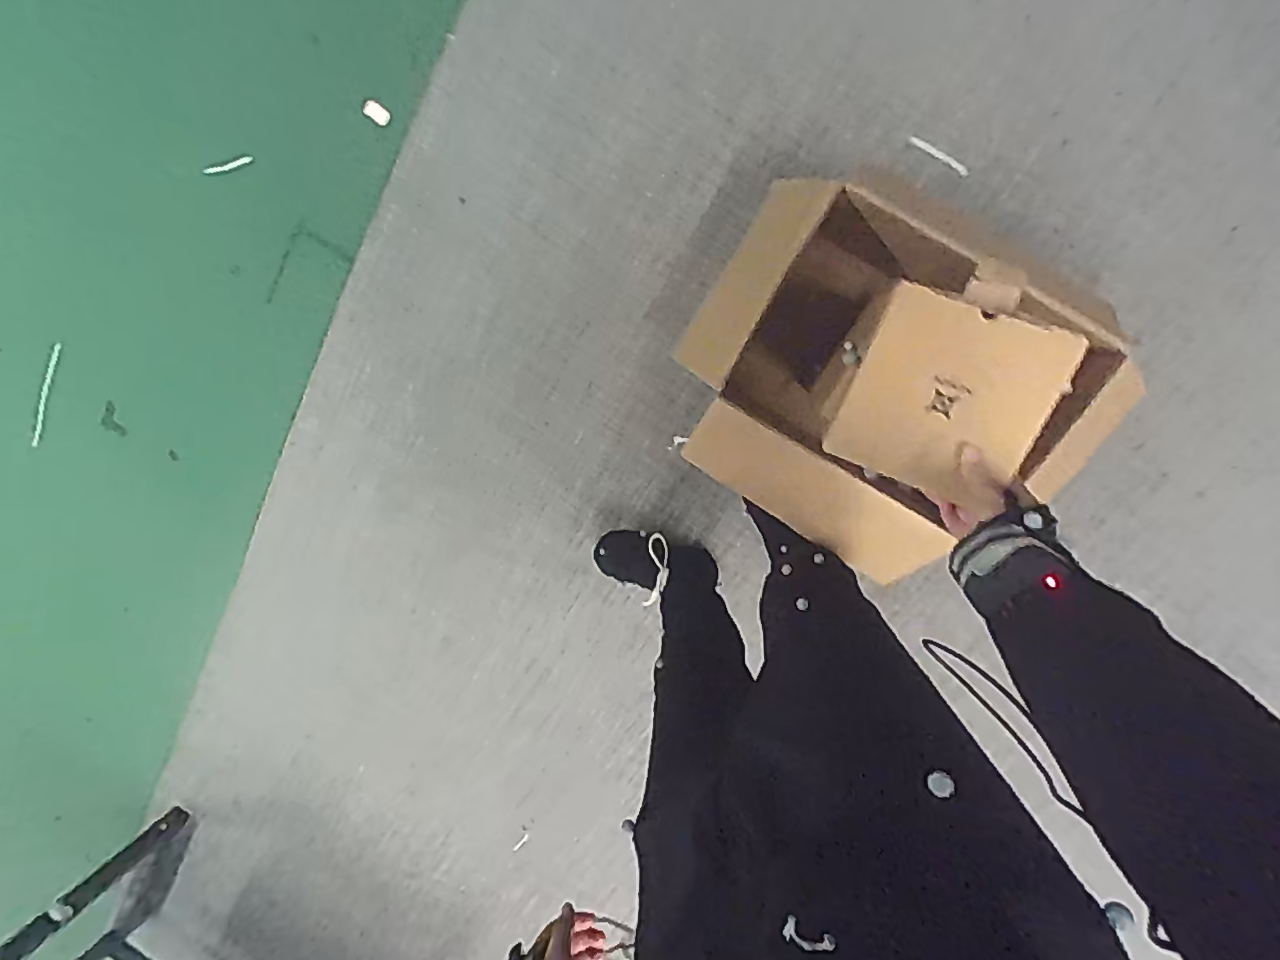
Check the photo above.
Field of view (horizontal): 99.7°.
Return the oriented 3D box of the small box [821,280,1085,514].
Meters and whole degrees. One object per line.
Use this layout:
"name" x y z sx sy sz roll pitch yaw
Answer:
"small box" 0.310 -0.086 0.578 0.168 0.176 0.179 25 103 15
